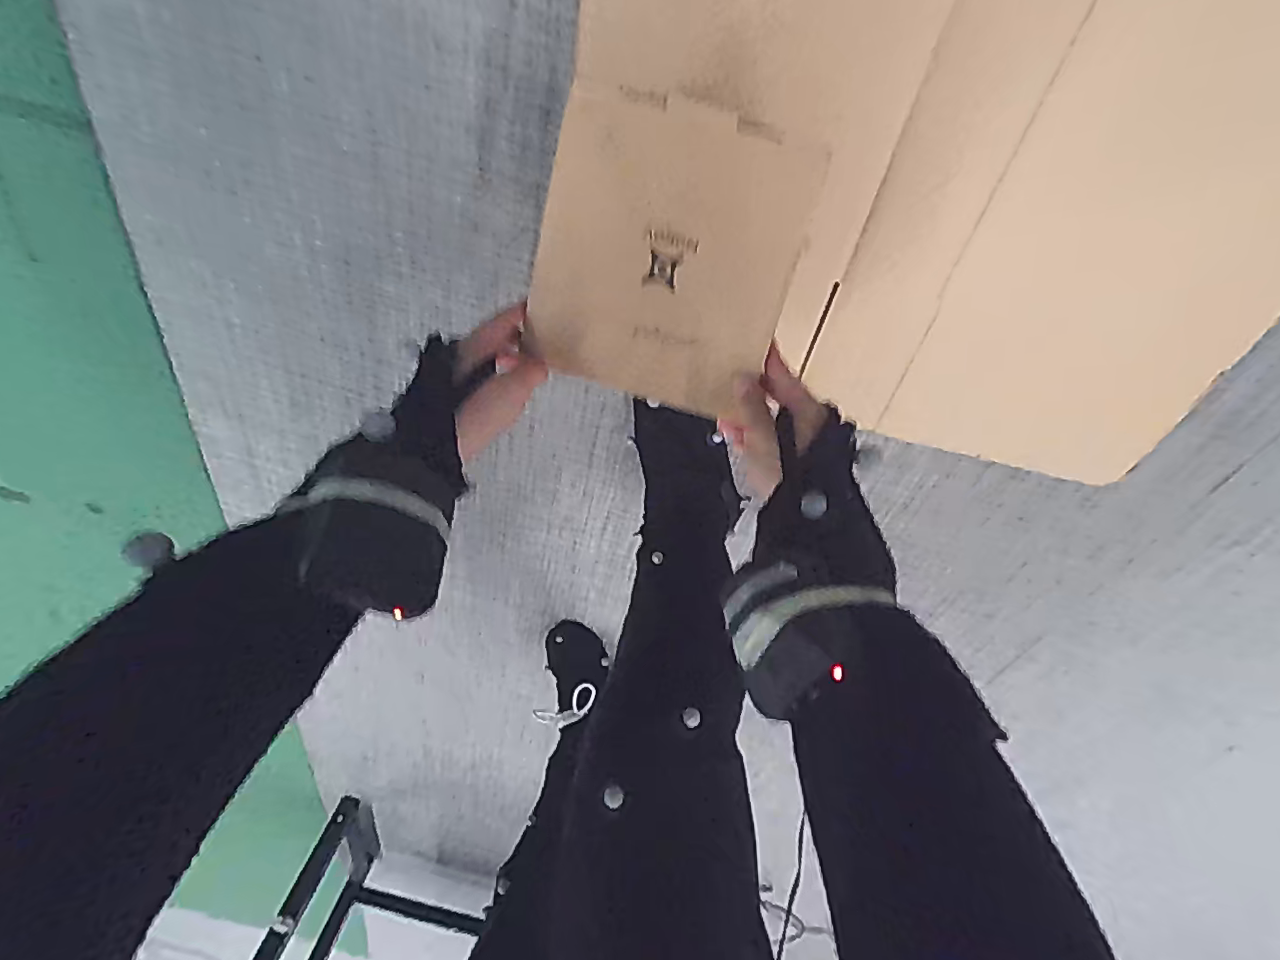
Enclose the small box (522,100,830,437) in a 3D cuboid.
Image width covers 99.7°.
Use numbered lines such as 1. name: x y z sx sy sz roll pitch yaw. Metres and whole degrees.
1. small box: 0.024 -0.151 0.427 0.168 0.176 0.179 15 106 2
